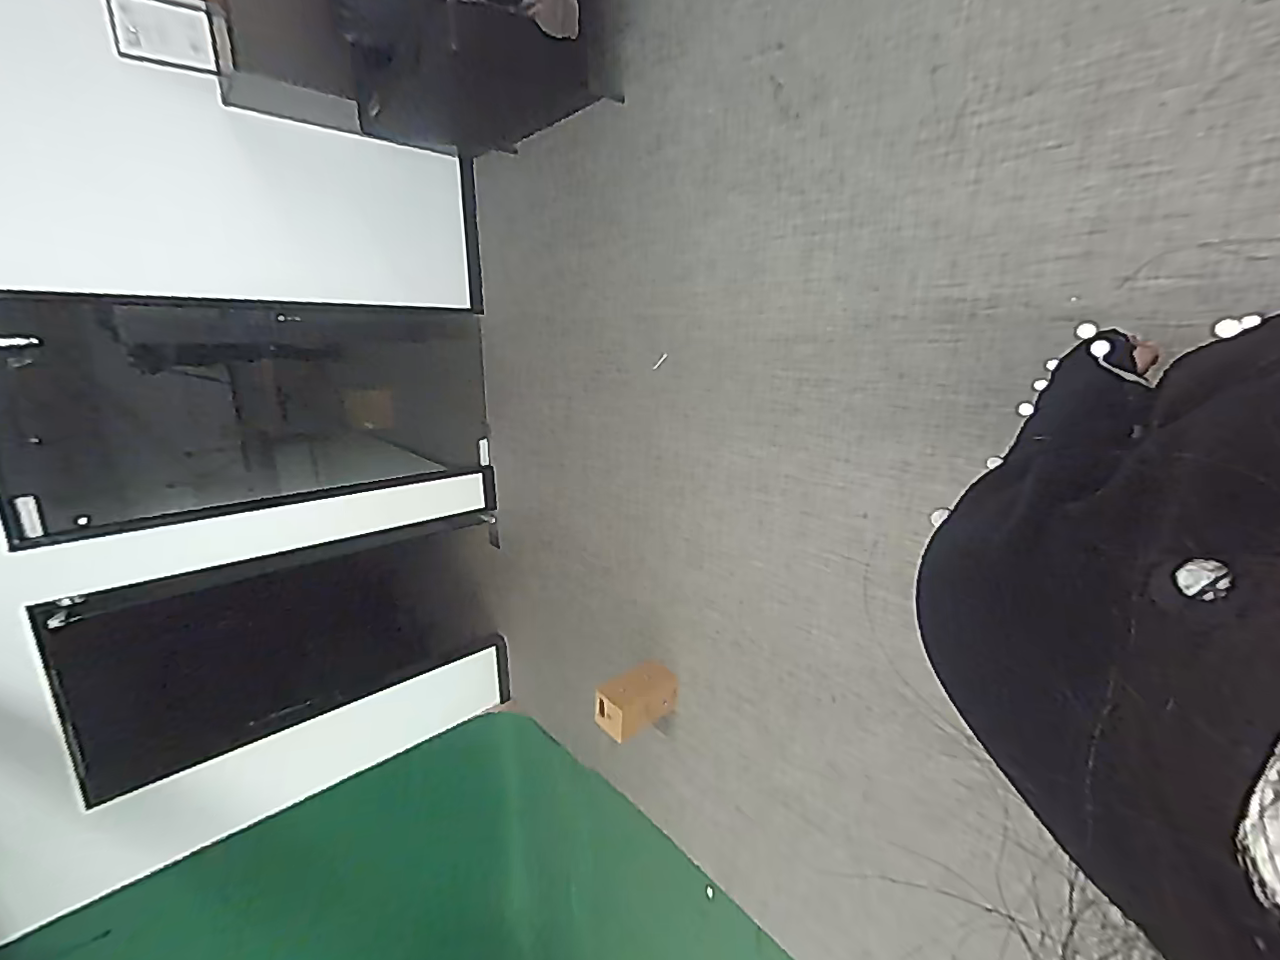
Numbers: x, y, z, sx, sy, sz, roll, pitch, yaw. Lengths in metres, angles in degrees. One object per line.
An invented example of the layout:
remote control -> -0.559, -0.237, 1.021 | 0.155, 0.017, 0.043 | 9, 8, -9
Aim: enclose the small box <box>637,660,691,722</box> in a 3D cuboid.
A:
small box -> 0.108, 0.938, 2.423 | 0.179, 0.176, 0.168 | 24, 117, 44
